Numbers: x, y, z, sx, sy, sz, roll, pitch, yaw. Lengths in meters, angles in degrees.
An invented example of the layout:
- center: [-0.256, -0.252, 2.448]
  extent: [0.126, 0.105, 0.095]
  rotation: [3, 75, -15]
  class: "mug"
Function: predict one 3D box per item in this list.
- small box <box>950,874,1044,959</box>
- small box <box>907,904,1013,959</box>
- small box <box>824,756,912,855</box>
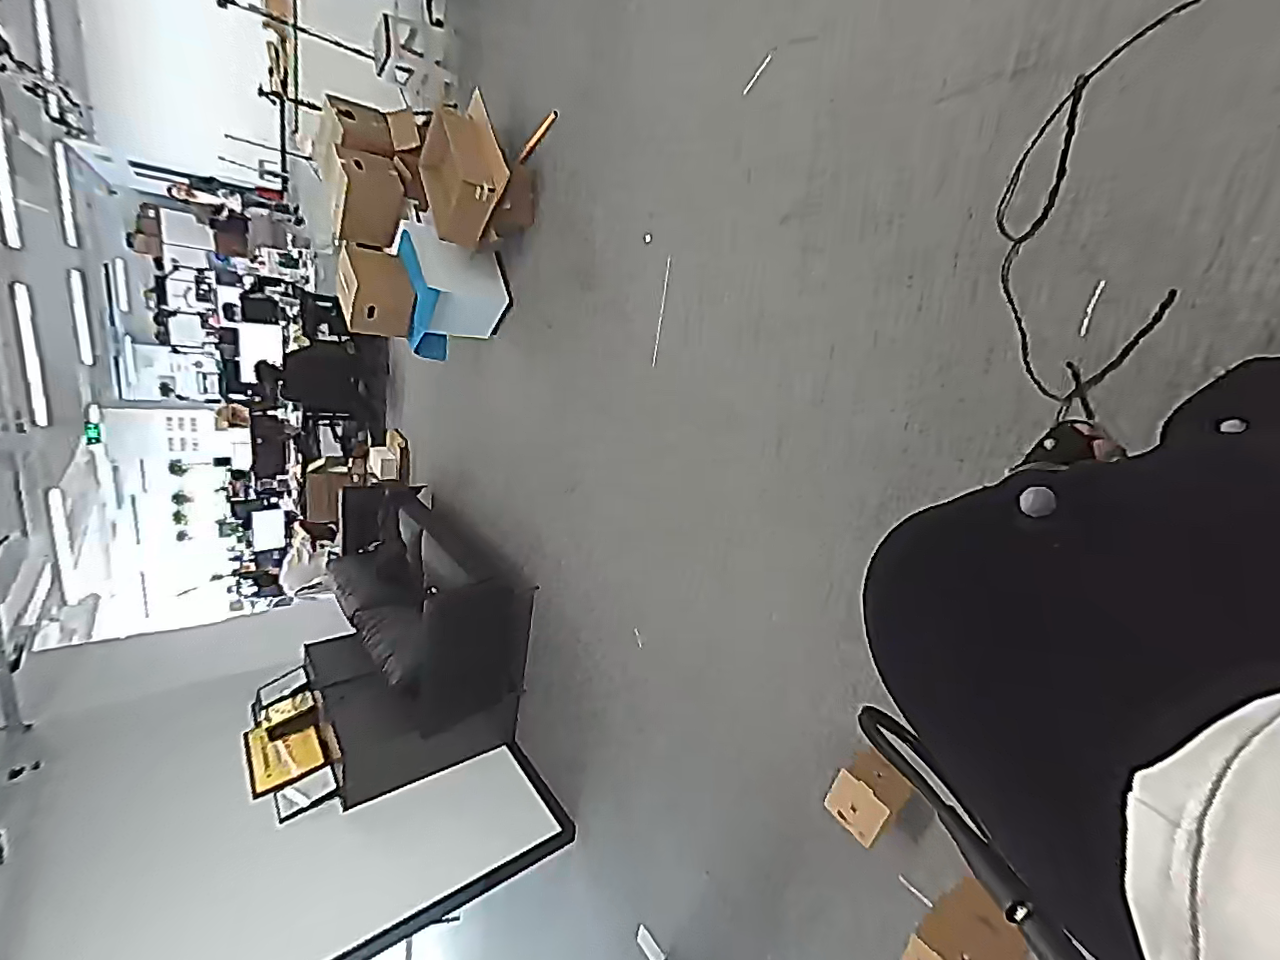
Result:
- center: [0.830, 1.102, 1.290]
  extent: [0.168, 0.176, 0.179]
  rotation: [24, 112, 47]
  class: "small box"
- center: [0.701, 1.099, 1.187]
  extent: [0.179, 0.176, 0.168]
  rotation: [26, 112, 47]
  class: "small box"
- center: [0.712, 1.002, 1.680]
  extent: [0.168, 0.176, 0.179]
  rotation: [36, 119, 43]
  class: "small box"
